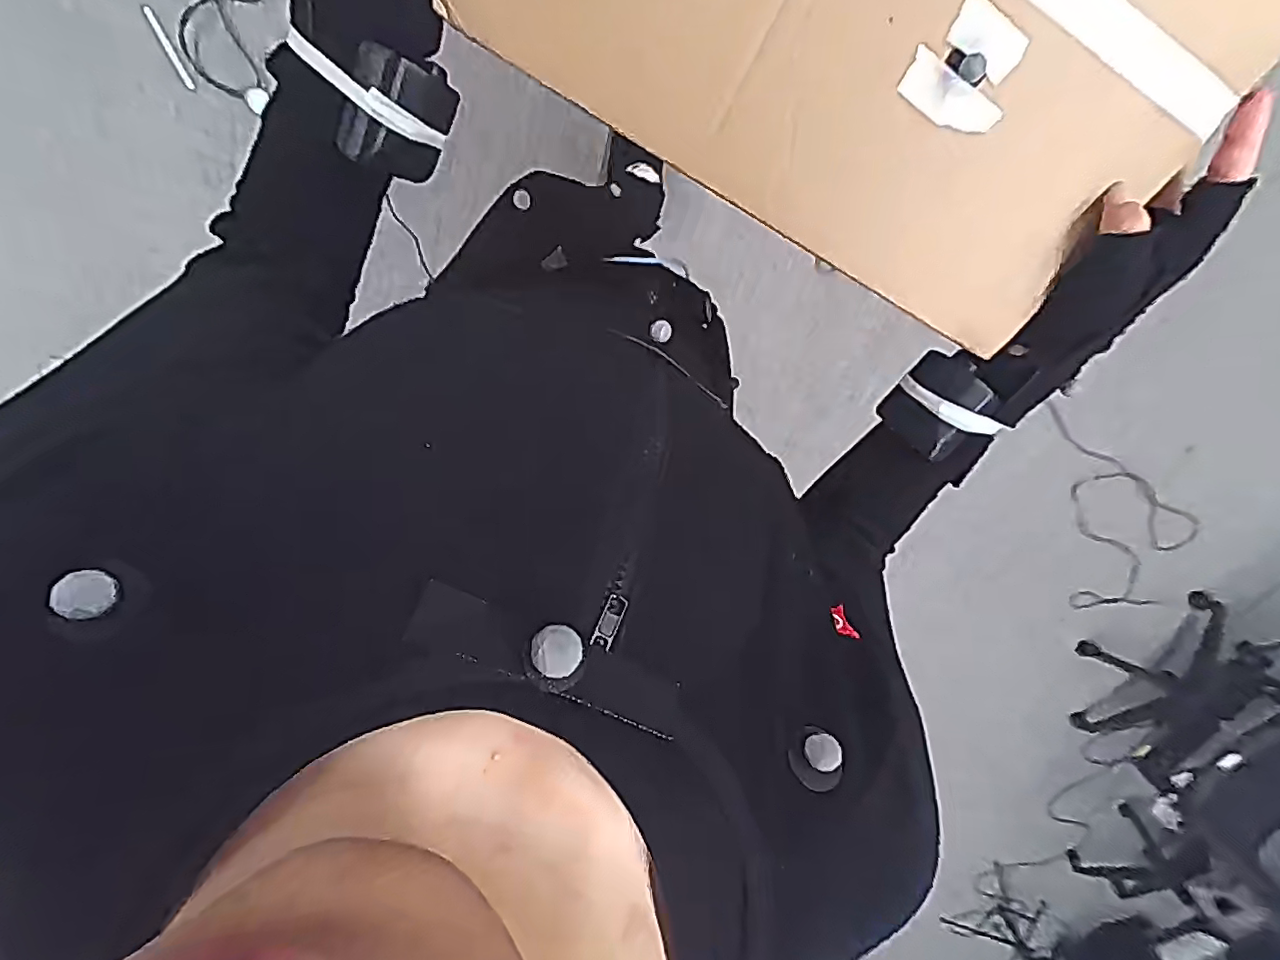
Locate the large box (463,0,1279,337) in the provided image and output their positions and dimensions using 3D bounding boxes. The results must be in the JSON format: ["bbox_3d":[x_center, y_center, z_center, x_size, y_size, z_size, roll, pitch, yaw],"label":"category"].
[{"bbox_3d":[0.150,-0.373,0.389,0.408,0.320,0.320,26,123,-13],"label":"large box"}]
